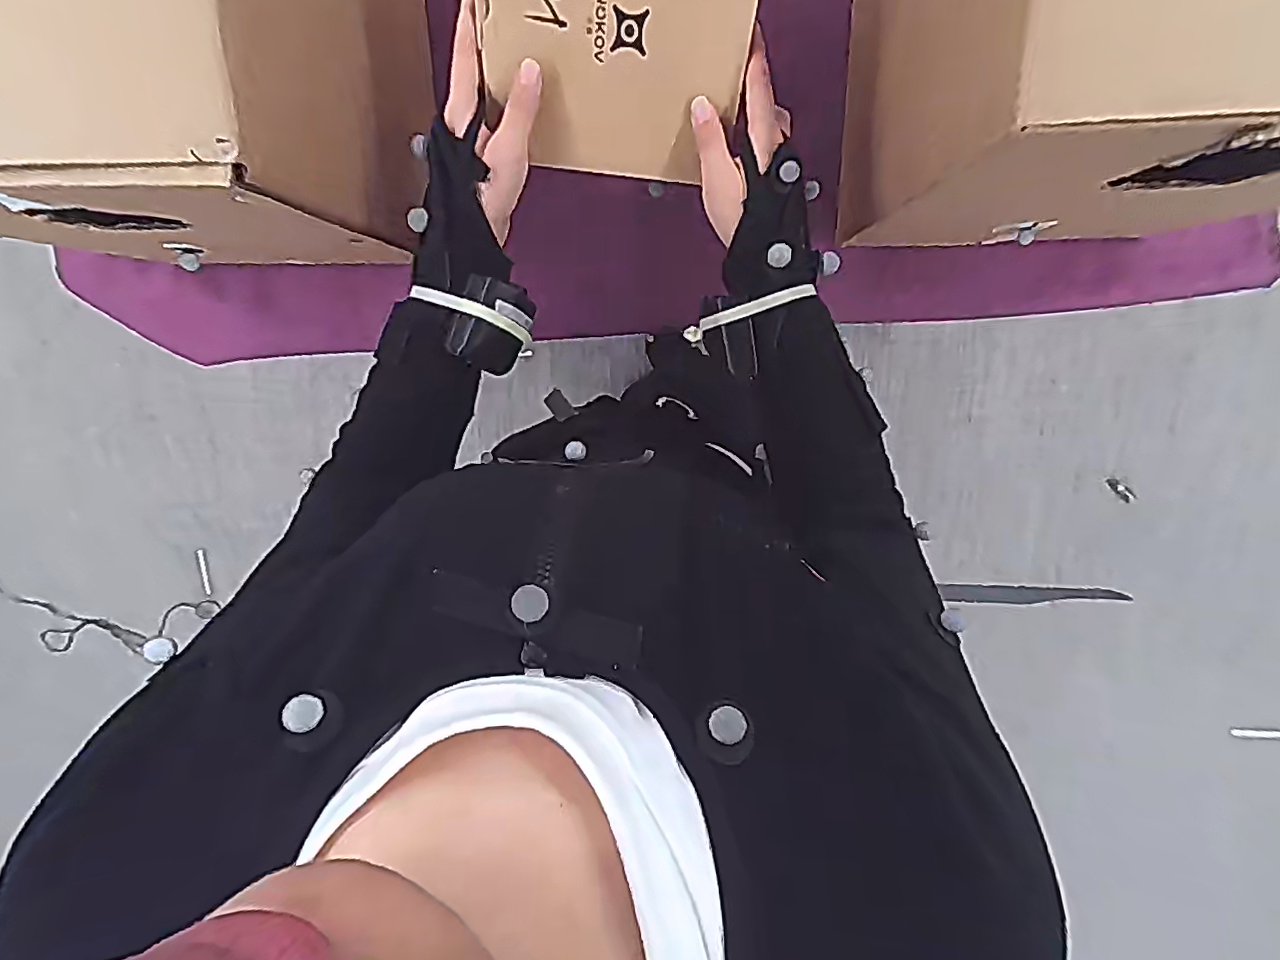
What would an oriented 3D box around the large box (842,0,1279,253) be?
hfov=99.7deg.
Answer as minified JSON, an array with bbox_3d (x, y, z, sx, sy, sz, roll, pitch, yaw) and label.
[{"bbox_3d":[0.337,-0.397,0.357,0.320,0.320,0.408,0,103,4],"label":"large box"}]
